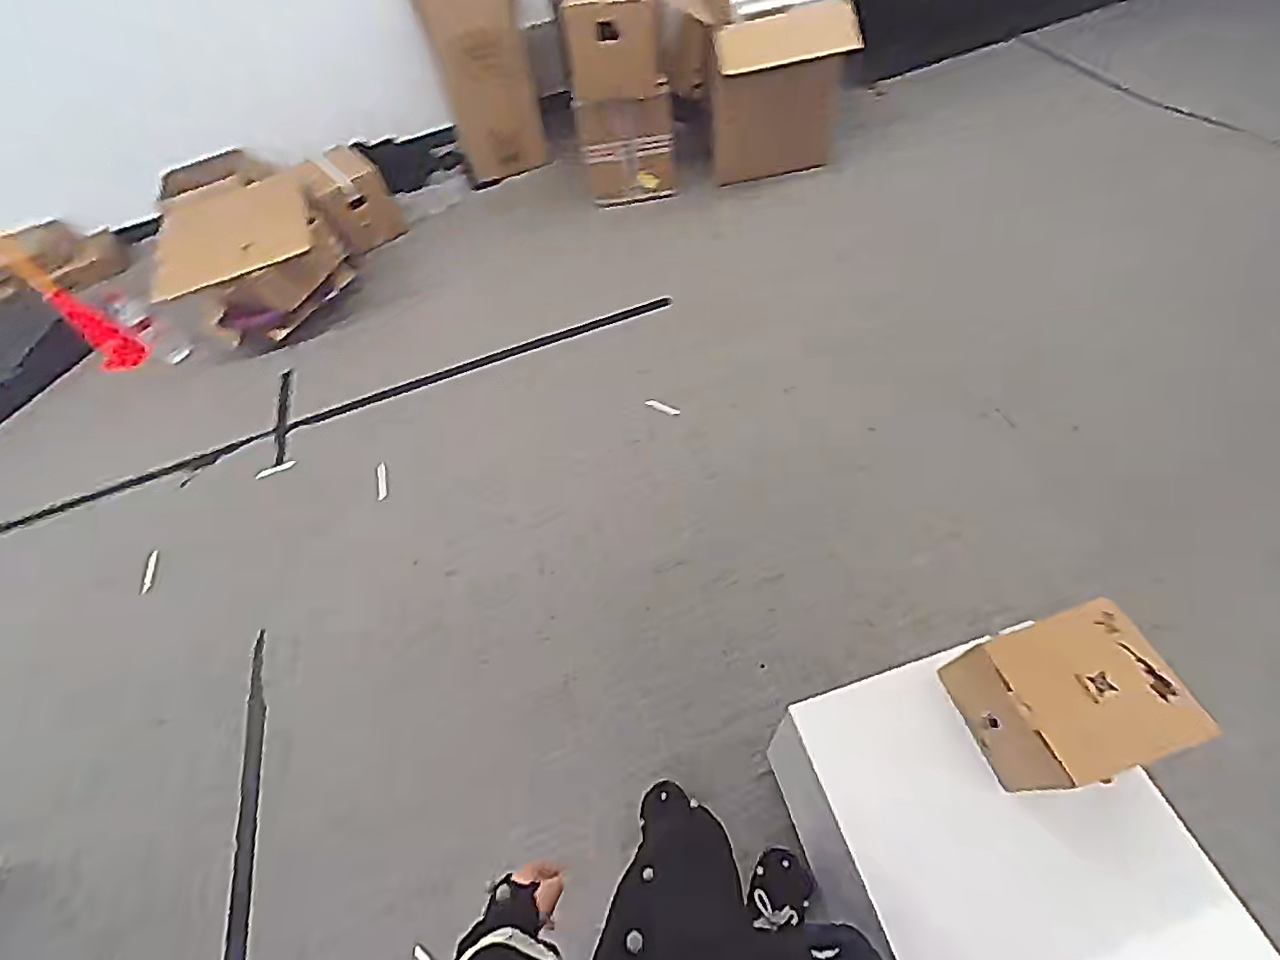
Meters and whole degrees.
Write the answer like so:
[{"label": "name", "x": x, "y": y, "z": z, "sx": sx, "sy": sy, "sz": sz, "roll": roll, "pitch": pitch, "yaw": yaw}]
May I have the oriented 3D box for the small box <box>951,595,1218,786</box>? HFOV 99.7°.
[{"label": "small box", "x": 0.527, "y": 0.273, "z": 0.682, "sx": 0.179, "sy": 0.176, "sz": 0.168, "roll": -19, "pitch": 58, "yaw": -1}]
